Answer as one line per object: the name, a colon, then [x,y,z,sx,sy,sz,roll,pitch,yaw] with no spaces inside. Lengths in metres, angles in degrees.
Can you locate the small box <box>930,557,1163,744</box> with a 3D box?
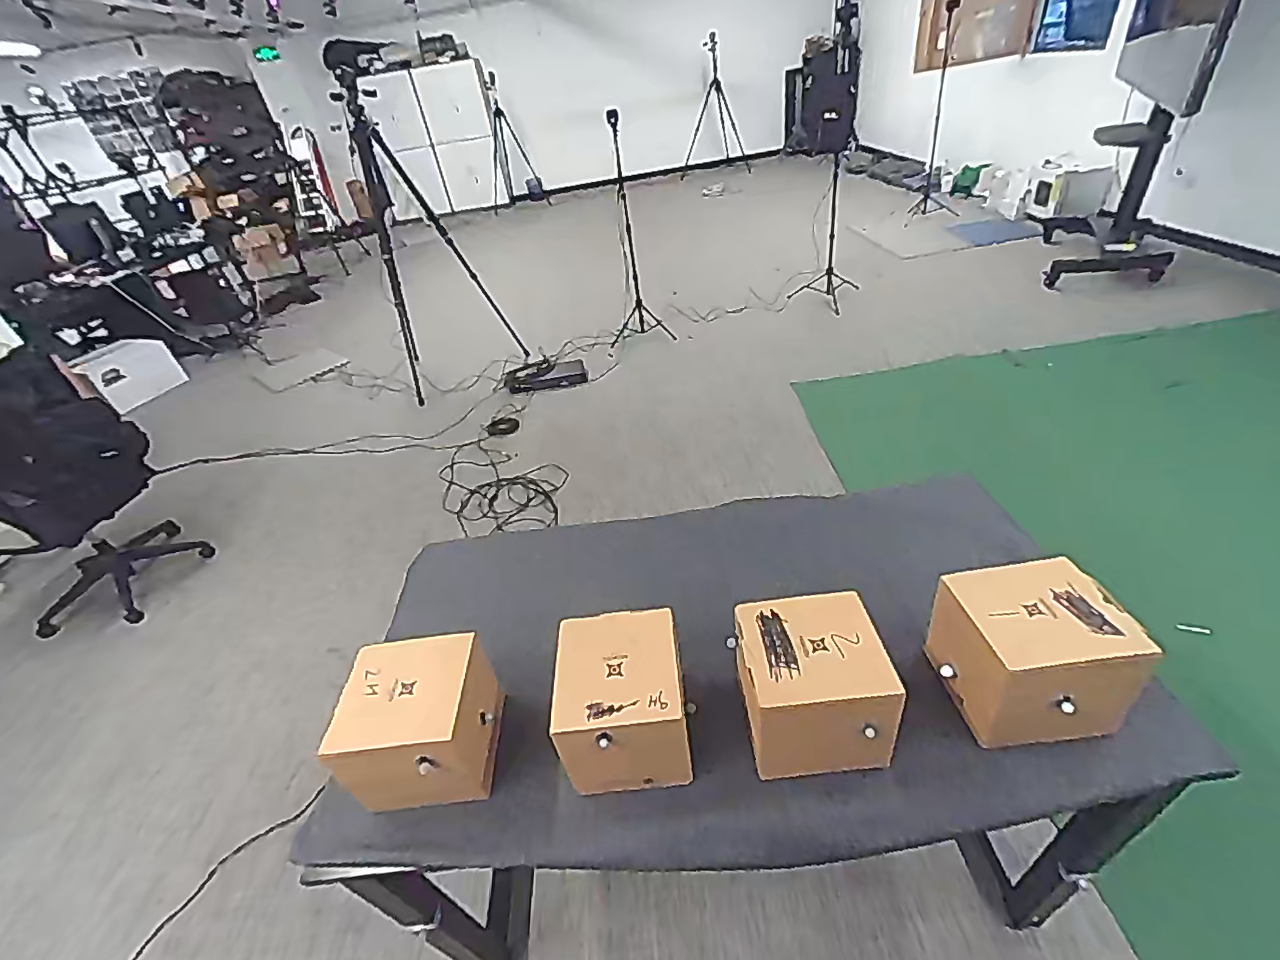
small box: [0.522,0.229,0.729,0.179,0.176,0.168,-9,34,4]
